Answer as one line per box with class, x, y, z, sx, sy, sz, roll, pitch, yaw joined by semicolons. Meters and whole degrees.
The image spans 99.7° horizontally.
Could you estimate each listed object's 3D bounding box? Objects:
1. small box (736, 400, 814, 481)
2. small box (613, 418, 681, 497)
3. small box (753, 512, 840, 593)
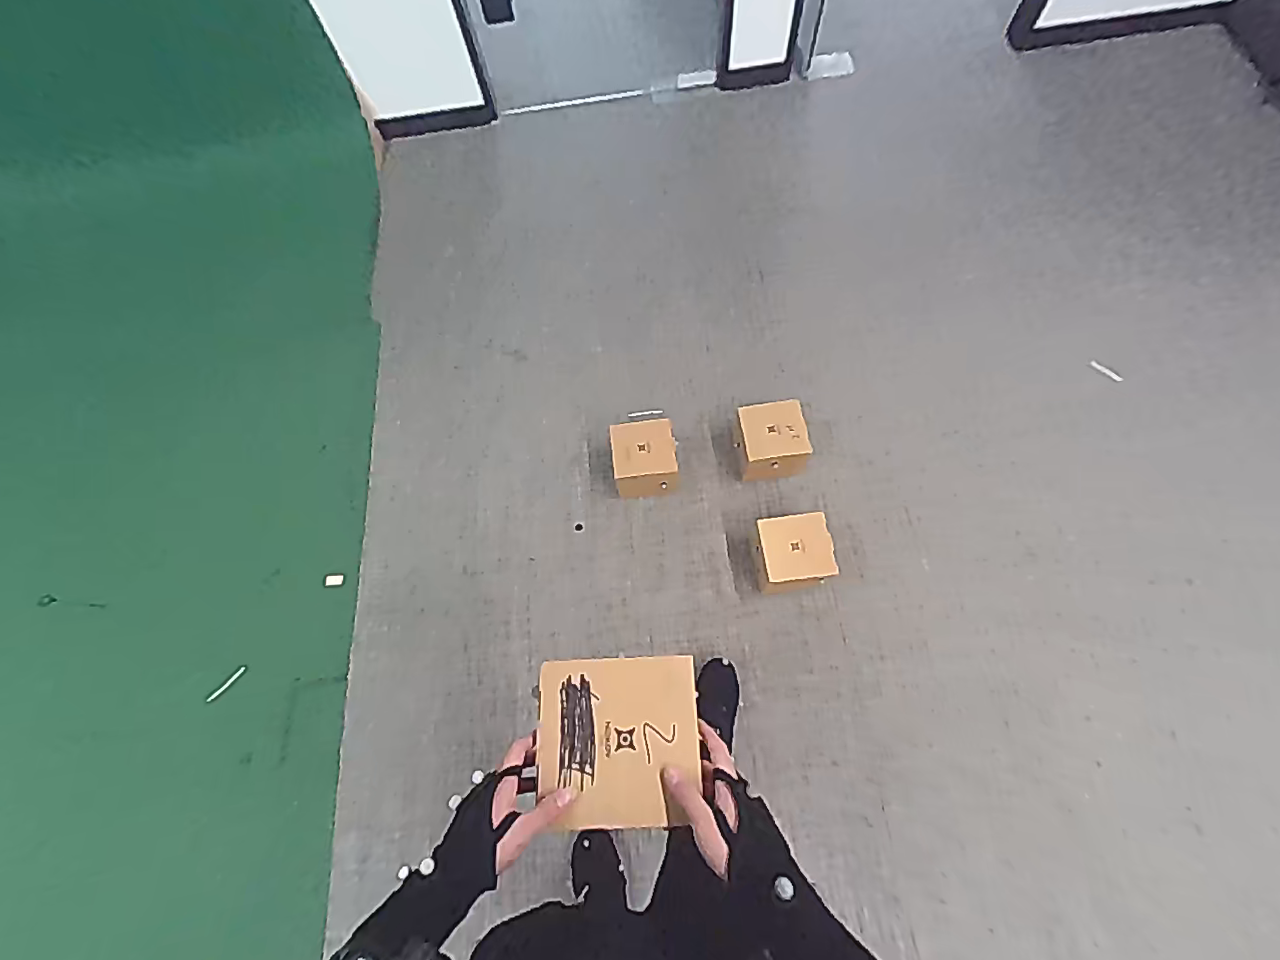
small box;0.375;-0.106;1.538;0.179;0.176;0.168;-7;69;1
small box;0.020;-0.059;1.546;0.179;0.176;0.168;-6;68;2
small box;0.400;0.196;1.422;0.179;0.176;0.168;-7;68;0
